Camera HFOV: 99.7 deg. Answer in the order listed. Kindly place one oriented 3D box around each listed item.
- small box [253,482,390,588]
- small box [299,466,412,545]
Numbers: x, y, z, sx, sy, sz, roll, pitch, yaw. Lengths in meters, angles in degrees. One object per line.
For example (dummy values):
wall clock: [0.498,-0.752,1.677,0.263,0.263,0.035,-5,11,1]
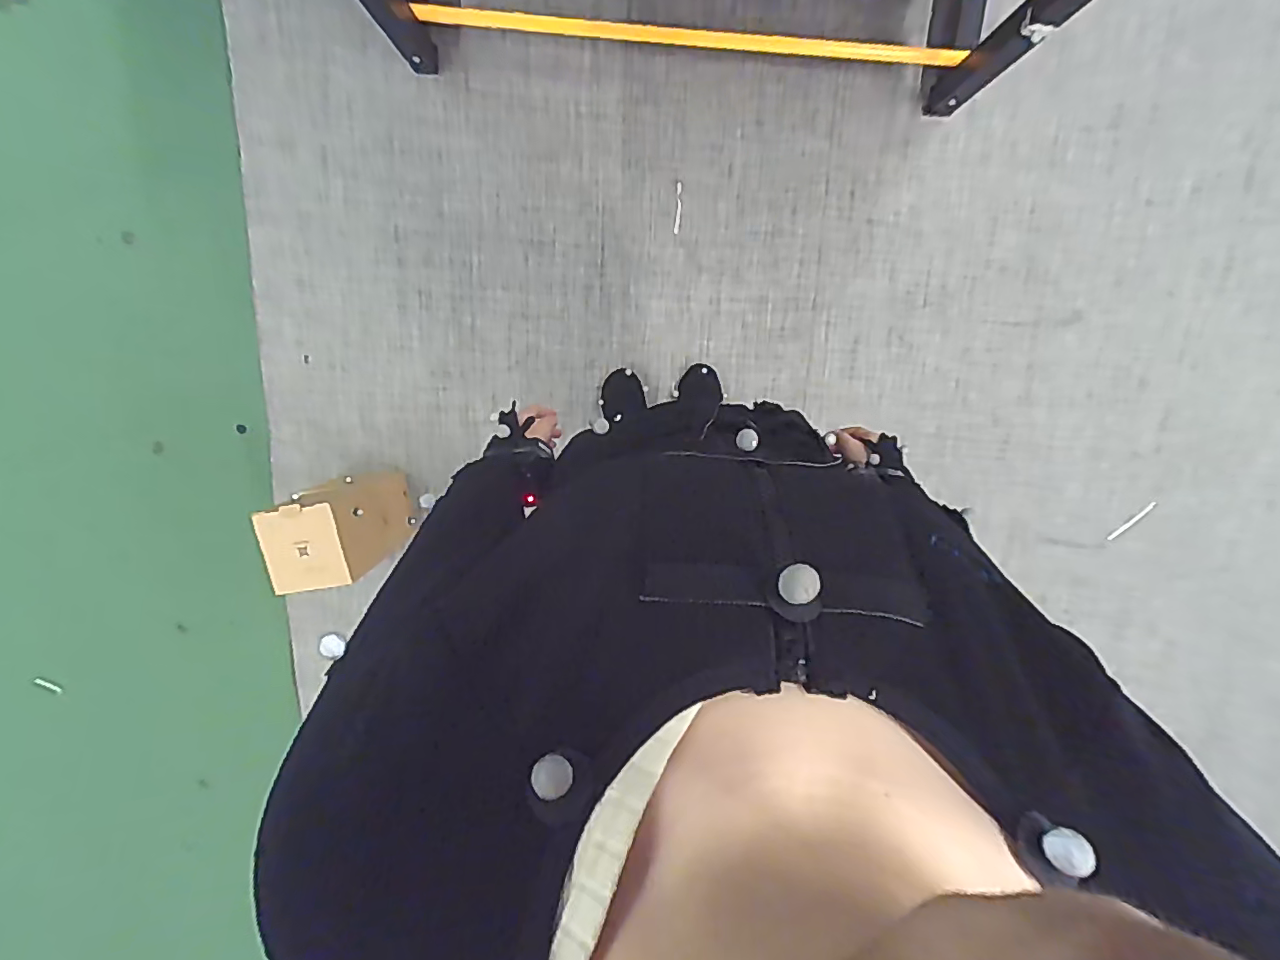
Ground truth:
small box: [-0.666,0.108,1.151,0.168,0.176,0.179,-9,103,4]
small box: [-0.675,0.067,1.308,0.179,0.176,0.168,-6,102,3]
